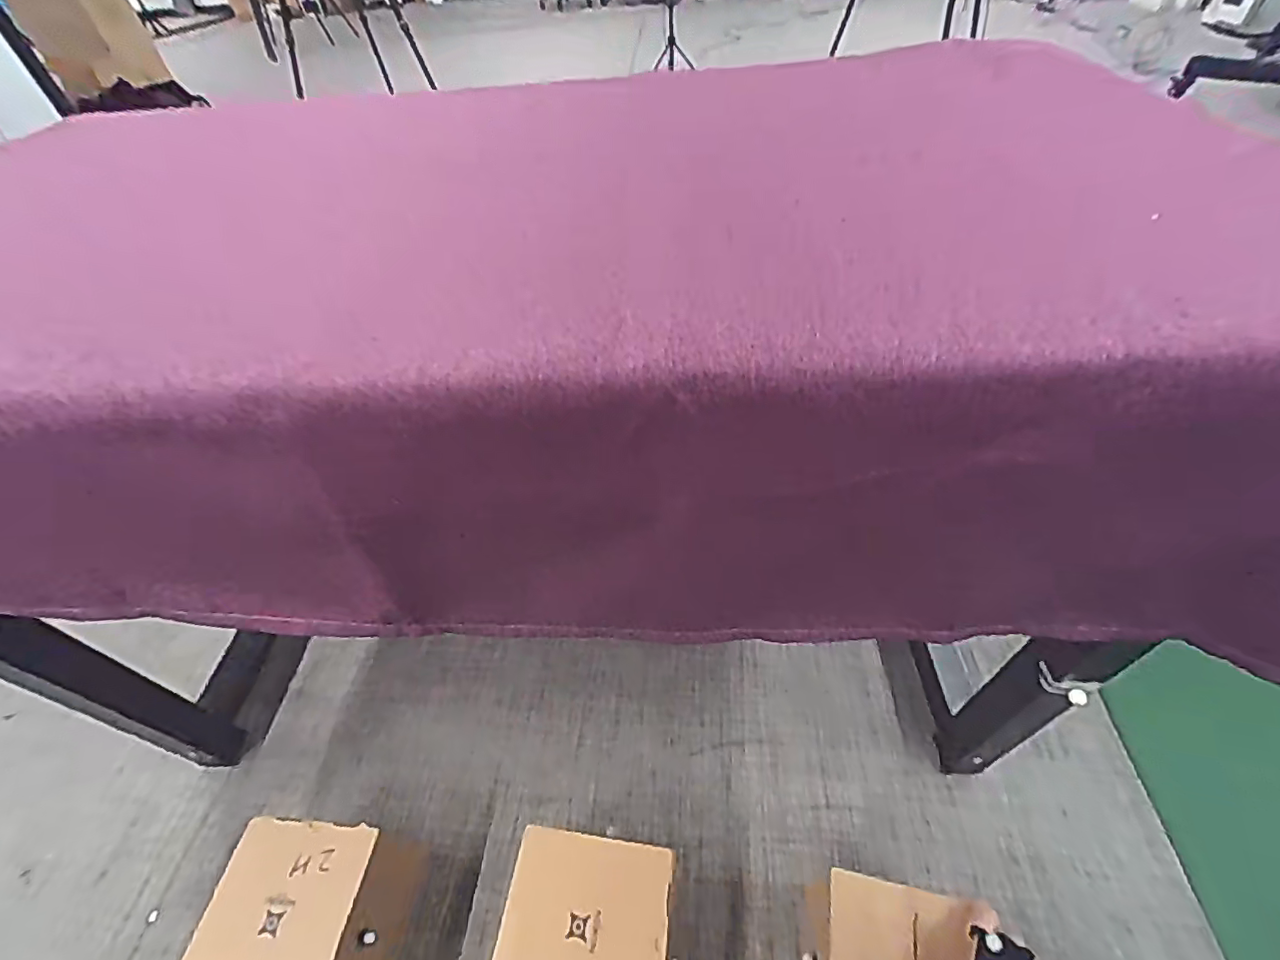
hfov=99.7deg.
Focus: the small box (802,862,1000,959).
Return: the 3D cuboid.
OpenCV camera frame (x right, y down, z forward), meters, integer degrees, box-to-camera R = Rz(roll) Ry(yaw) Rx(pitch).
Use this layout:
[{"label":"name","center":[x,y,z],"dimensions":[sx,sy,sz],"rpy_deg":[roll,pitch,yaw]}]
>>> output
[{"label":"small box","center":[0.268,0.541,0.573],"dimensions":[0.168,0.176,0.179],"rpy_deg":[7,48,12]}]
